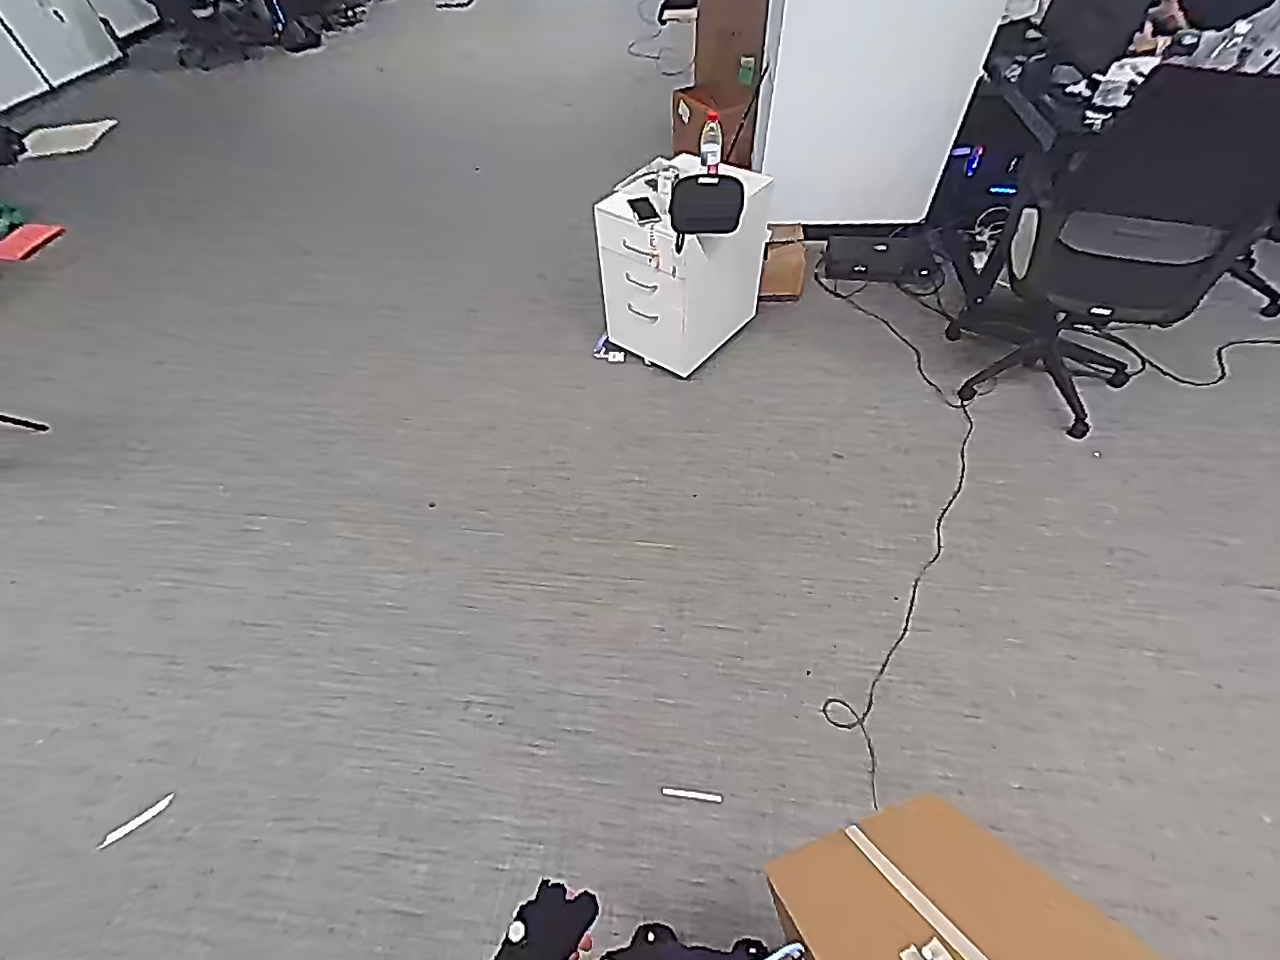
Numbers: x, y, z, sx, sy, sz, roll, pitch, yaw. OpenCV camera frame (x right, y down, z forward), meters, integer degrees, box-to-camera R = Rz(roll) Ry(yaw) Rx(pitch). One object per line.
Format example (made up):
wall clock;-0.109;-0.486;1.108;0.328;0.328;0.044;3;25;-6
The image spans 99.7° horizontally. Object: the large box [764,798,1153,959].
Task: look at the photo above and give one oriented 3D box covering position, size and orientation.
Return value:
large box;0.410;0.698;0.683;0.320;0.408;0.320;-18;87;-9
